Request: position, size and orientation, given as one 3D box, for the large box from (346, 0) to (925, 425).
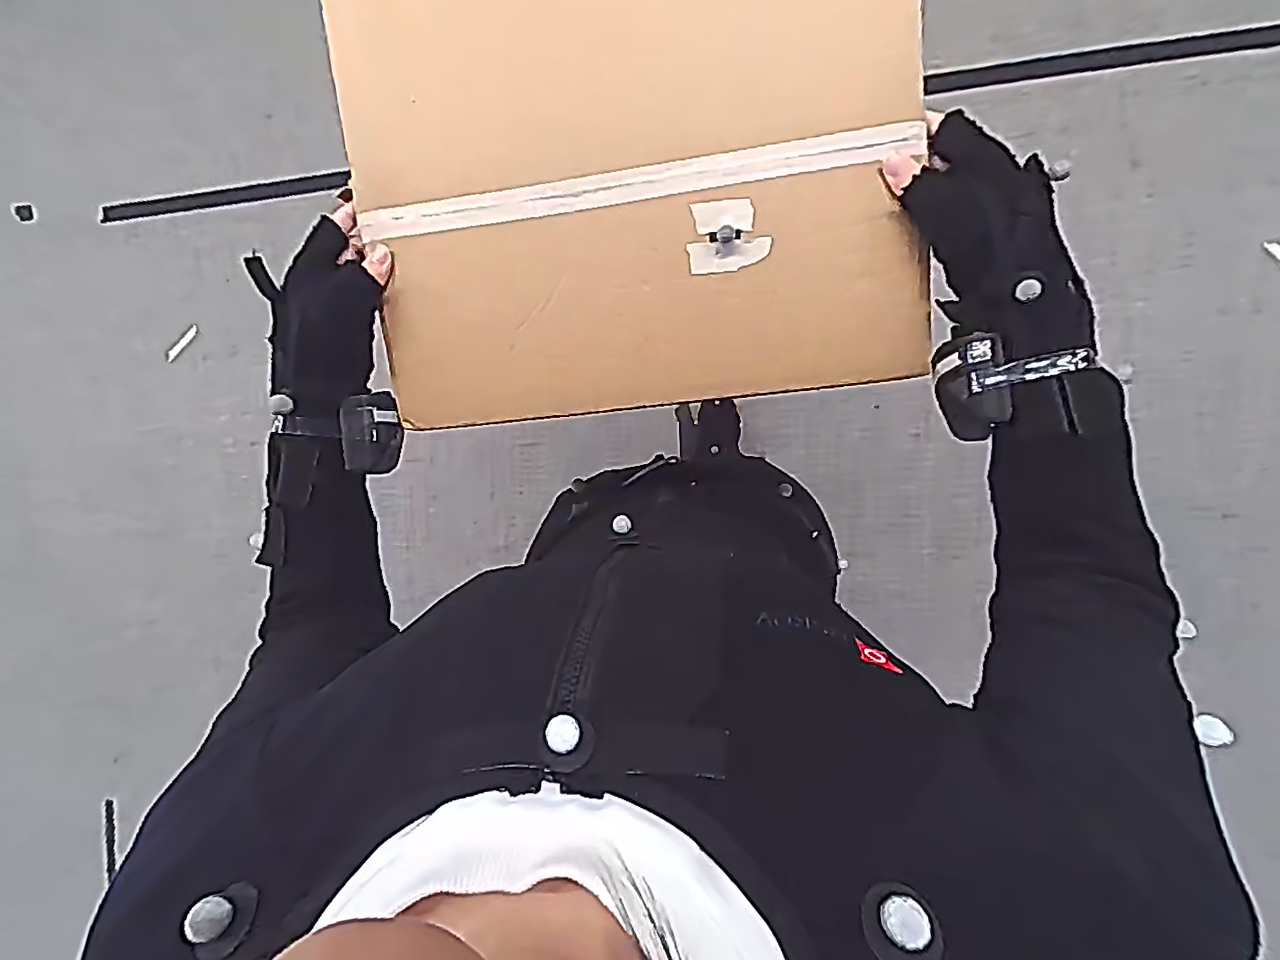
[{"bbox_3d":[0.009,-0.244,0.544,0.408,0.320,0.320,-6,101,6],"label":"large box"}]
